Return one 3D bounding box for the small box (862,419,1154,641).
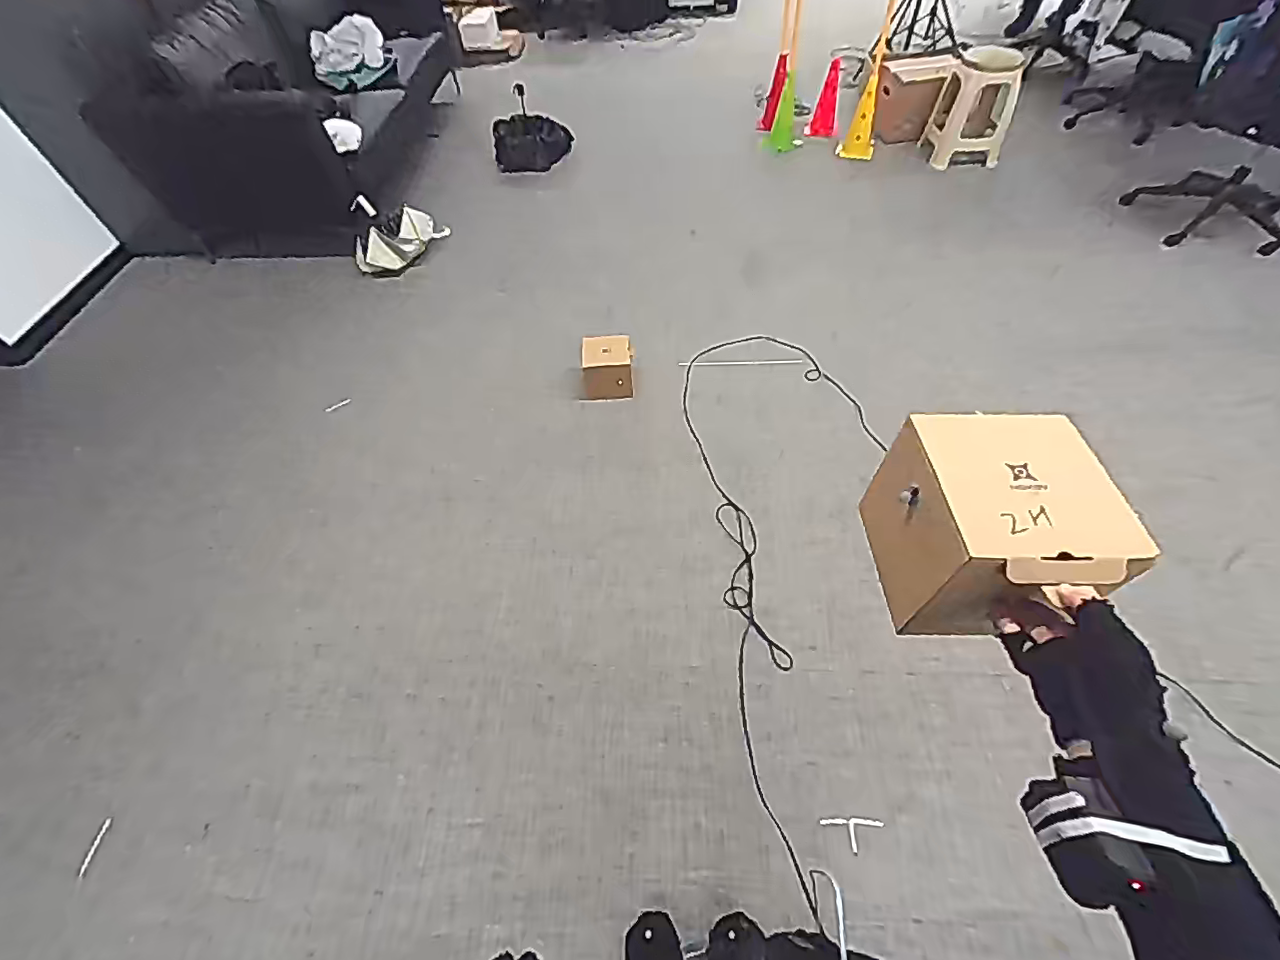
[{"bbox_3d":[0.358,0.054,0.575,0.168,0.176,0.179,0,52,0],"label":"small box"}]

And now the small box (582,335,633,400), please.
[{"bbox_3d":[-0.118,-0.416,2.010,0.179,0.176,0.168,-5,53,1],"label":"small box"}]
